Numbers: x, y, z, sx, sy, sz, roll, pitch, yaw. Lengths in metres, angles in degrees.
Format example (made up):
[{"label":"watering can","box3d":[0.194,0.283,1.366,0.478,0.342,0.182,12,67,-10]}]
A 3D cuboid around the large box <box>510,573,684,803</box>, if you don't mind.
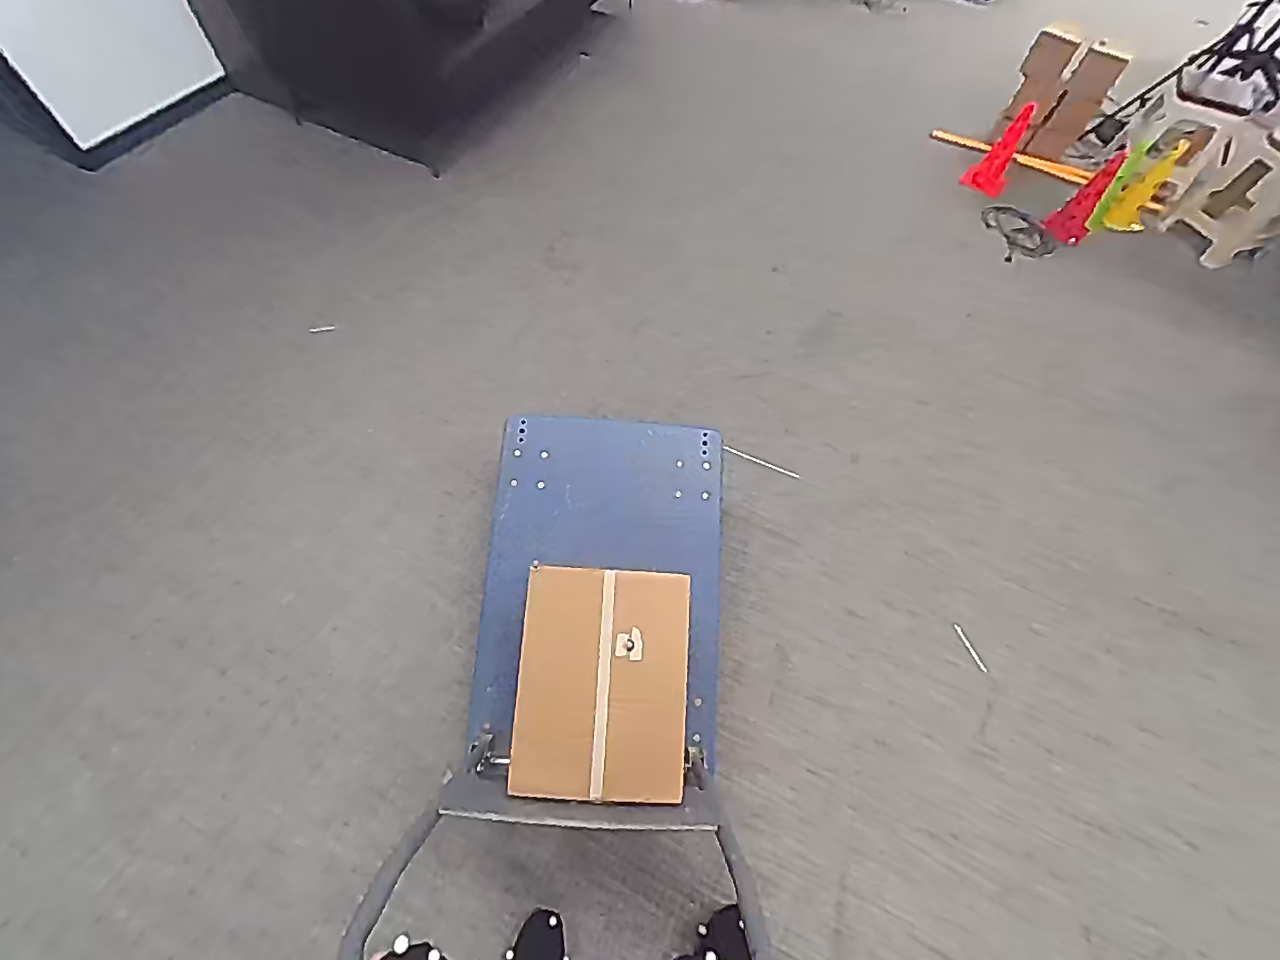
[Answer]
[{"label":"large box","box3d":[-0.077,0.418,1.149,0.320,0.320,0.408,3,75,-2]}]
